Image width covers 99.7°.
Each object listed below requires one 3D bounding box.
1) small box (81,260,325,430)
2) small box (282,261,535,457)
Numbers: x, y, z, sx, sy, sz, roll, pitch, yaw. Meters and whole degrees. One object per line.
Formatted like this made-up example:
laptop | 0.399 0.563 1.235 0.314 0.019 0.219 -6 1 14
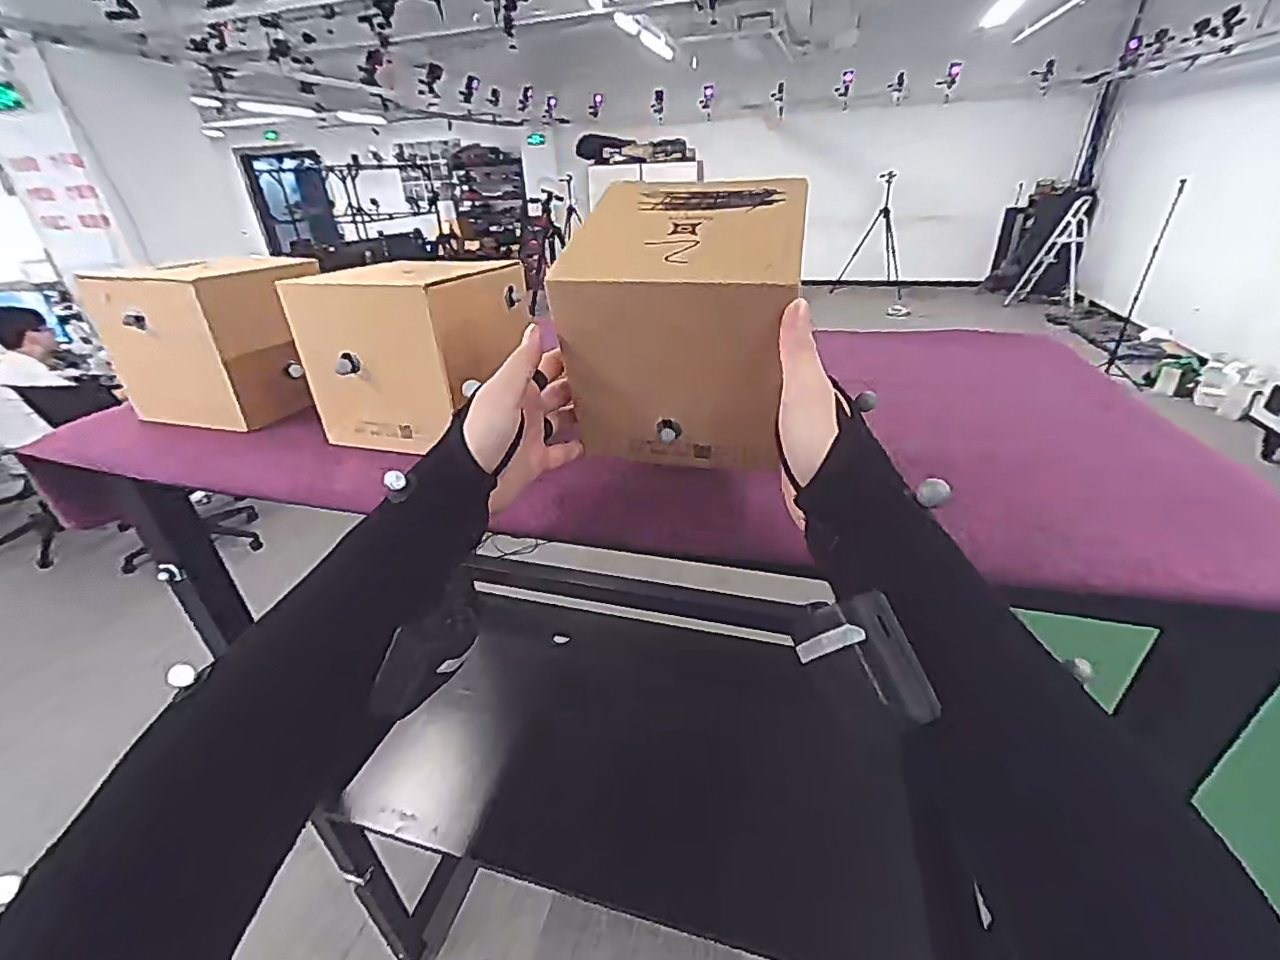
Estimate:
small box | -0.497 -0.170 0.662 0.179 0.176 0.168 7 30 15
small box | -0.227 -0.135 0.584 0.168 0.176 0.179 6 29 16
